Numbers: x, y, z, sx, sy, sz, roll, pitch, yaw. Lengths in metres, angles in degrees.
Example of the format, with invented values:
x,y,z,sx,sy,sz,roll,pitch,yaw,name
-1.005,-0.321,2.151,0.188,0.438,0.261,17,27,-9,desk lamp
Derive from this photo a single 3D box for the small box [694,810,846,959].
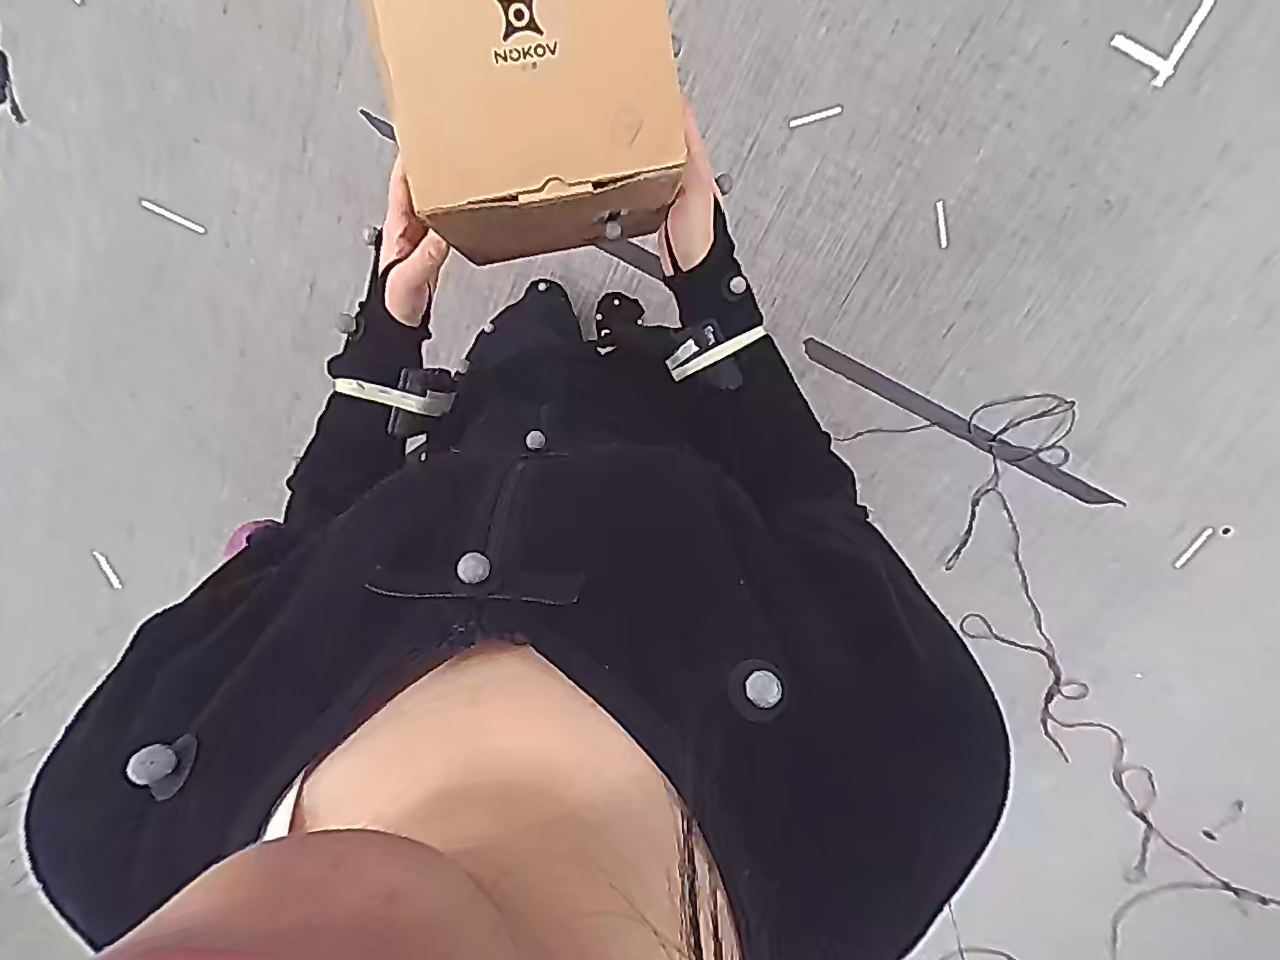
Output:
x,y,z,sx,sy,sz,roll,pitch,yaw,name
0.199,0.688,0.893,0.179,0.176,0.168,22,109,-6,small box

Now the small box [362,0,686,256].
x,y,z,sx,sy,sz,roll,pitch,yaw,name
-0.072,-0.267,0.376,0.168,0.176,0.179,-12,102,-3,small box
